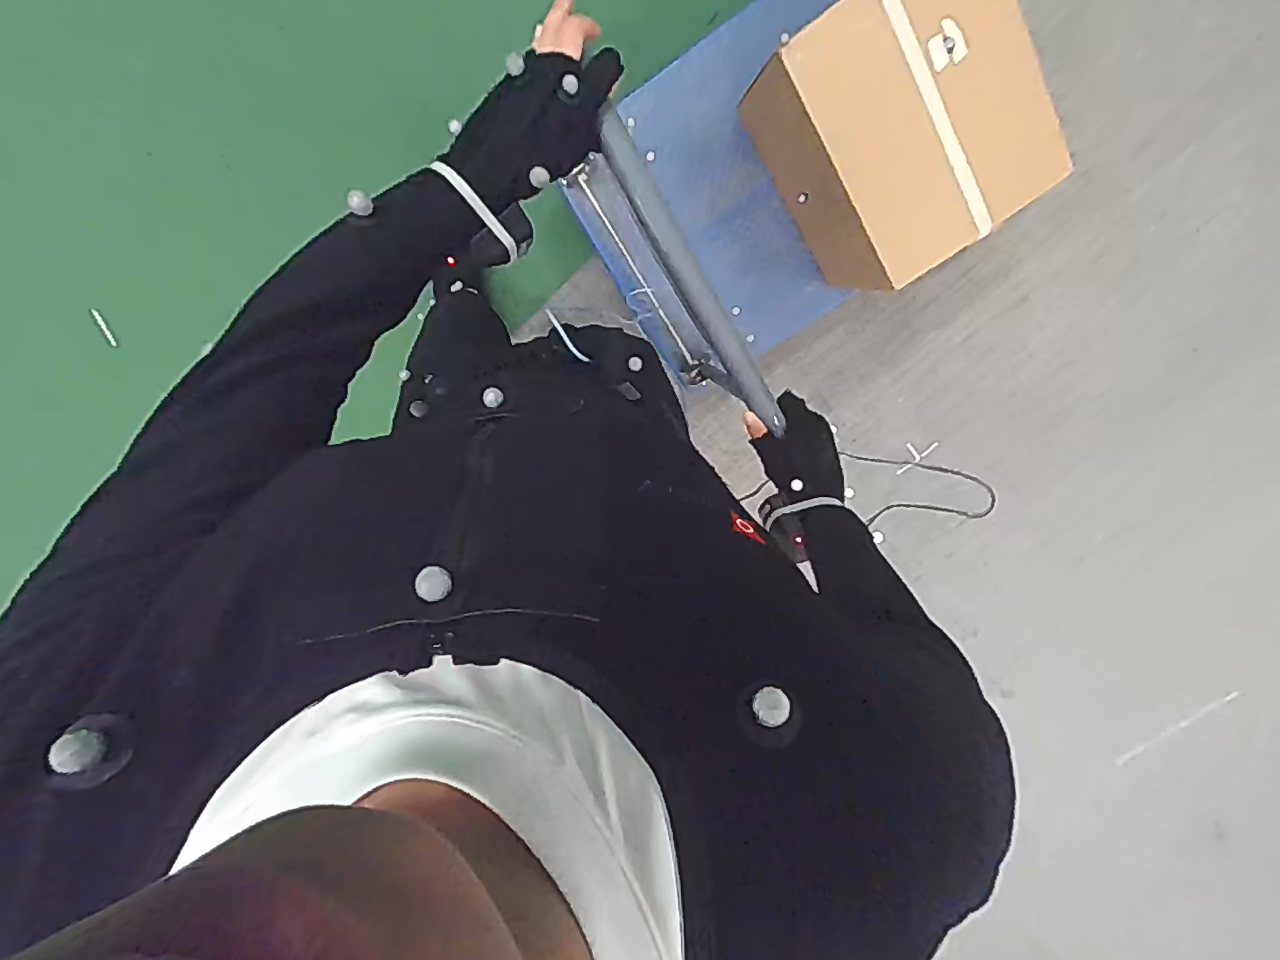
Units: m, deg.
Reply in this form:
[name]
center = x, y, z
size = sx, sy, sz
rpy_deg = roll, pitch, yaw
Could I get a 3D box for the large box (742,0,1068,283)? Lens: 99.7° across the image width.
[large box]
center = 0.434, -0.612, 0.955
size = 0.320, 0.320, 0.408
rpy_deg = -33, 108, 10
